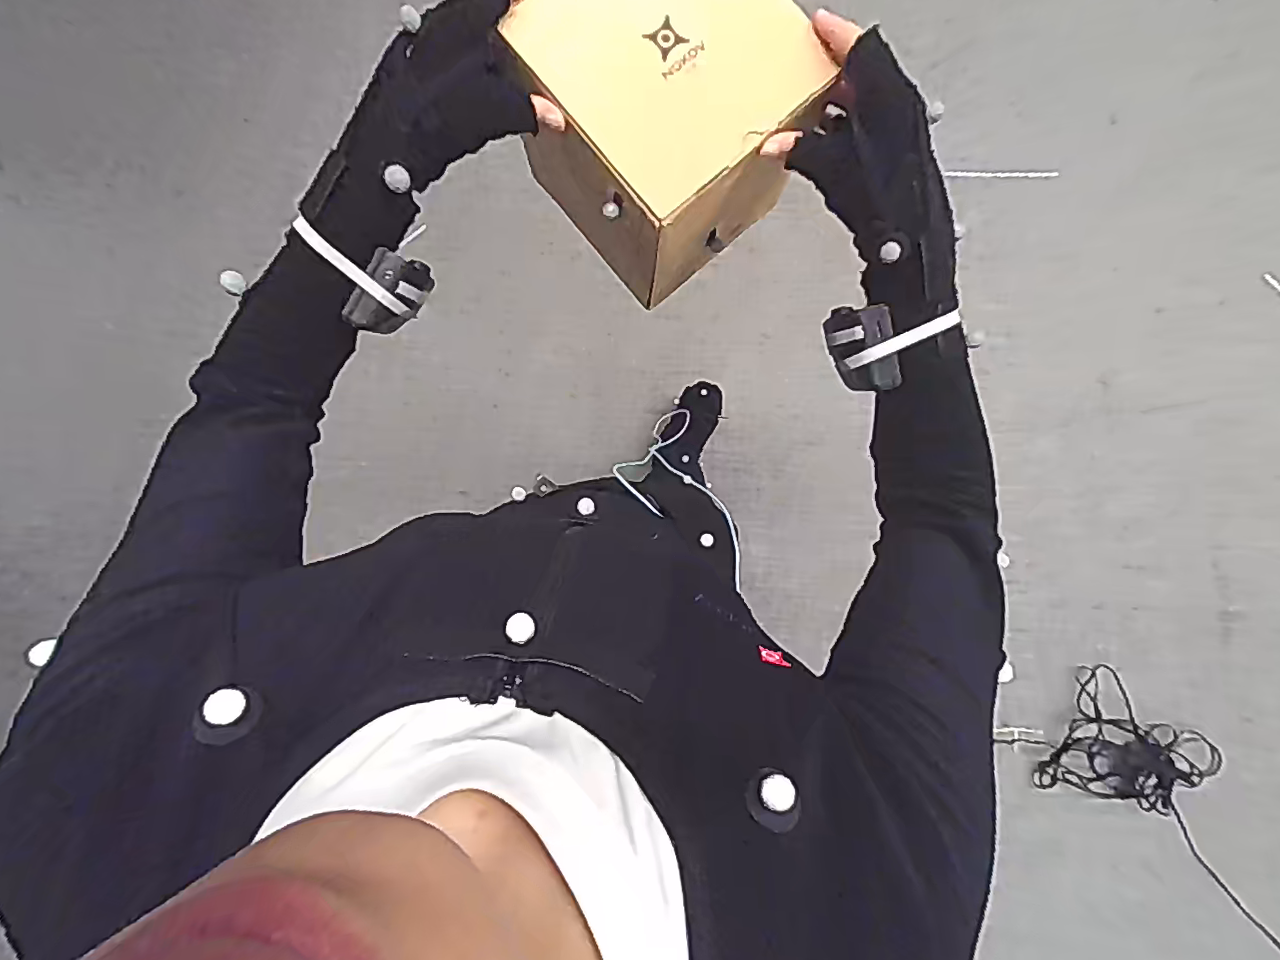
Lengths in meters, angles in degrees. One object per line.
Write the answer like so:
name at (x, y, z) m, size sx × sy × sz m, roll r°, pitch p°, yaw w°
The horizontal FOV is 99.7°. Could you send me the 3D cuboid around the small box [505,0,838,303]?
small box at (0.018, -0.283, 0.449) m, size 0.168 × 0.176 × 0.179 m, roll -40°, pitch 91°, yaw -3°
